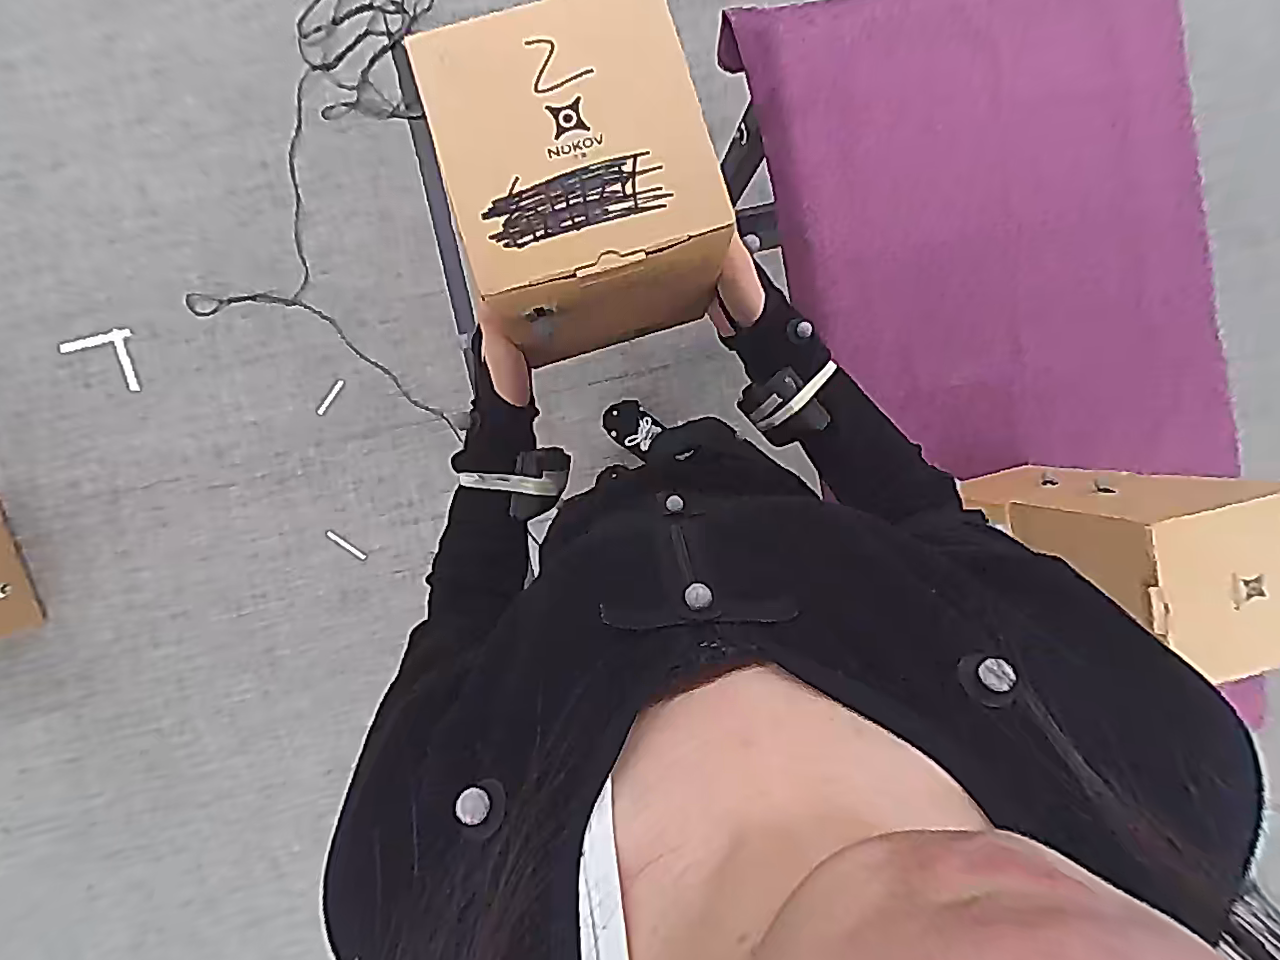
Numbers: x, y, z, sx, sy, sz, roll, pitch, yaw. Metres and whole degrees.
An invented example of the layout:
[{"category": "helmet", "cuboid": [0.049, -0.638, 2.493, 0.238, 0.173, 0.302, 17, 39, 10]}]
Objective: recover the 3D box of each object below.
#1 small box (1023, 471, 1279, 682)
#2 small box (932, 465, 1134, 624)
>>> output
[{"category": "small box", "cuboid": [0.551, 0.088, 0.581, 0.179, 0.176, 0.168, -12, 95, -4]}, {"category": "small box", "cuboid": [0.532, 0.077, 0.744, 0.179, 0.176, 0.168, -13, 95, -4]}]
